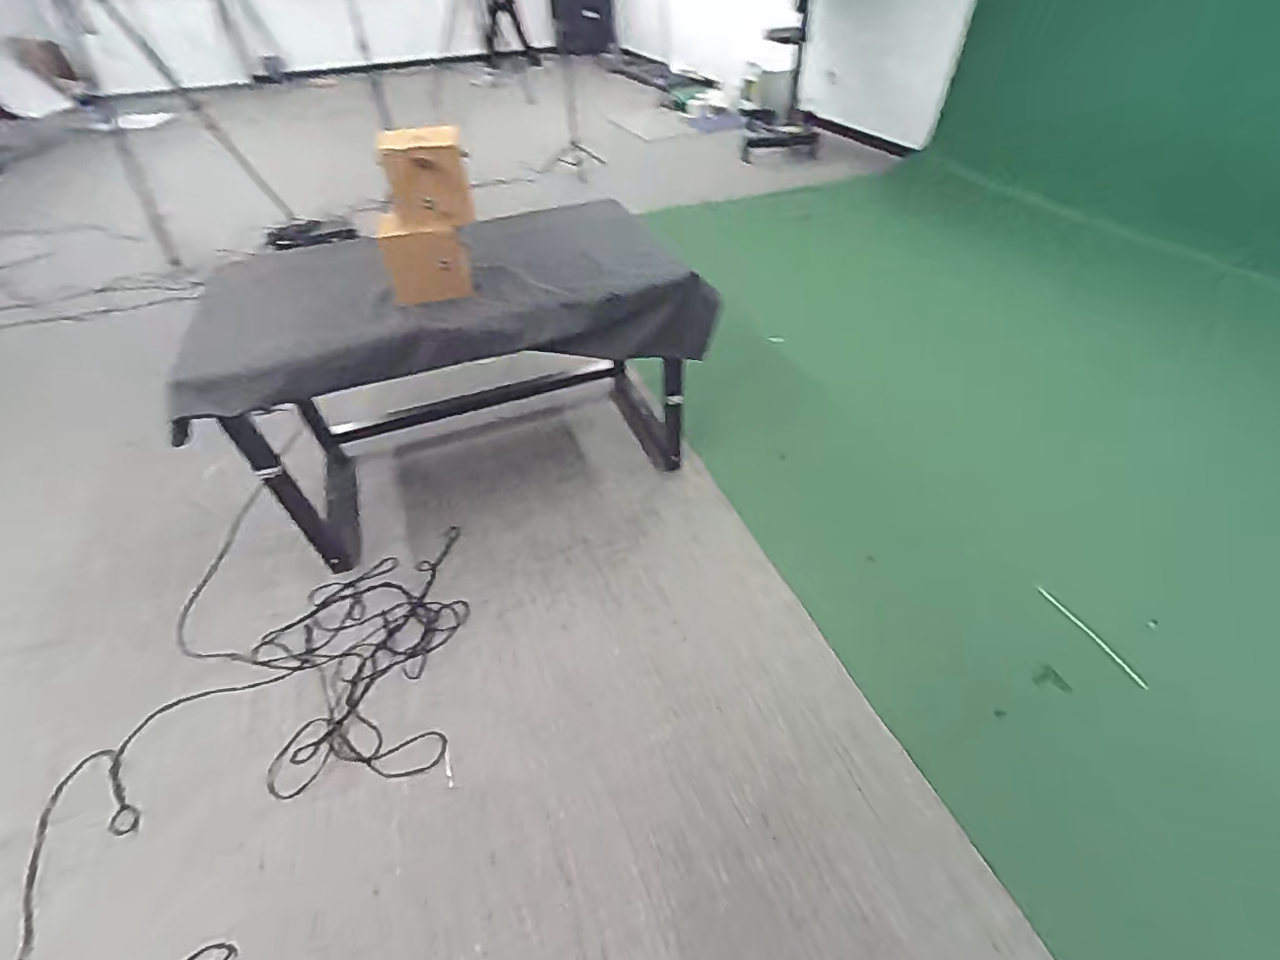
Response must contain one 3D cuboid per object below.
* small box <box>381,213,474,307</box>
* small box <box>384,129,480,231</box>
[{"bbox_3d":[-0.514,-0.549,1.336,0.179,0.176,0.168,-12,44,-9],"label":"small box"},{"bbox_3d":[-0.474,-0.694,1.251,0.168,0.176,0.179,-12,45,-10],"label":"small box"}]
